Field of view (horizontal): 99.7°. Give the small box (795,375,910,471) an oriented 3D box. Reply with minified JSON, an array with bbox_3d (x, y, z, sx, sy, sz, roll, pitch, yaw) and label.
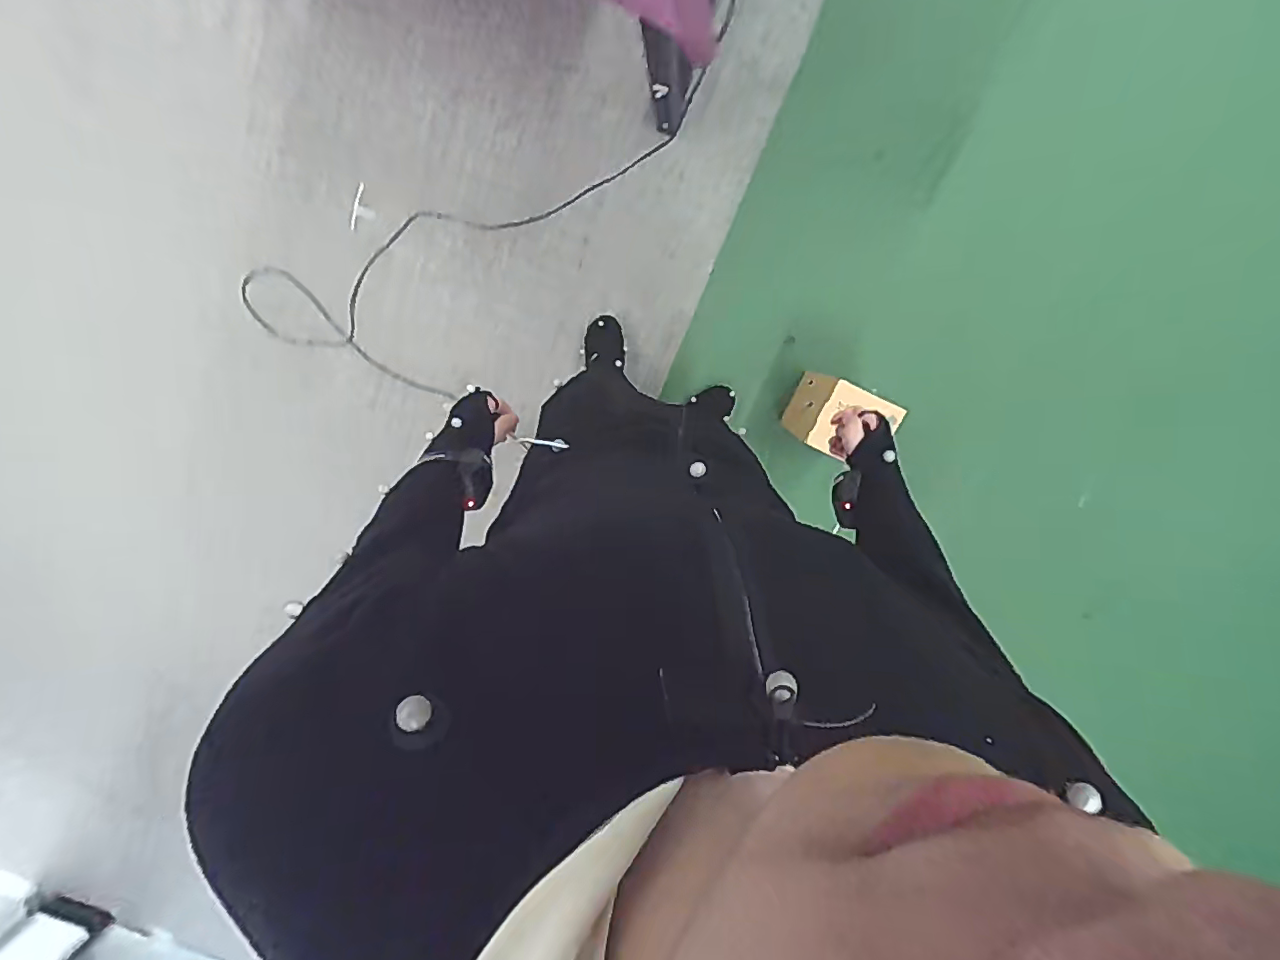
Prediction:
[{"bbox_3d":[0.504,-0.147,1.311,0.179,0.176,0.168,25,105,-3],"label":"small box"}]
